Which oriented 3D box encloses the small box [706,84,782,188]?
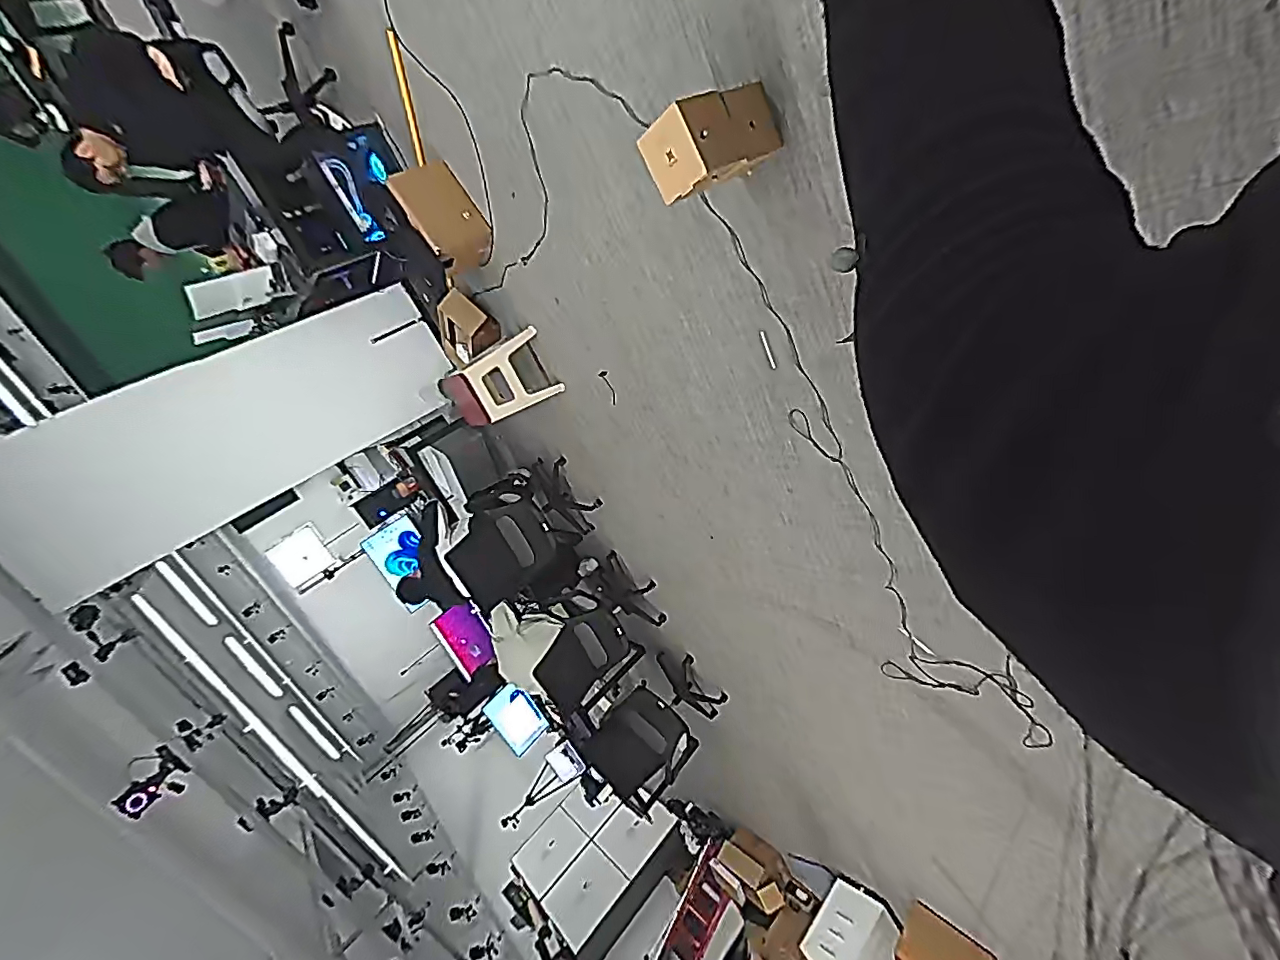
[{"bbox_3d":[0.249,-0.931,1.457,0.168,0.176,0.179,-2,122,55],"label":"small box"}]

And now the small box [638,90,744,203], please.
[{"bbox_3d":[0.135,-0.848,1.376,0.168,0.176,0.179,-8,115,55],"label":"small box"}]
